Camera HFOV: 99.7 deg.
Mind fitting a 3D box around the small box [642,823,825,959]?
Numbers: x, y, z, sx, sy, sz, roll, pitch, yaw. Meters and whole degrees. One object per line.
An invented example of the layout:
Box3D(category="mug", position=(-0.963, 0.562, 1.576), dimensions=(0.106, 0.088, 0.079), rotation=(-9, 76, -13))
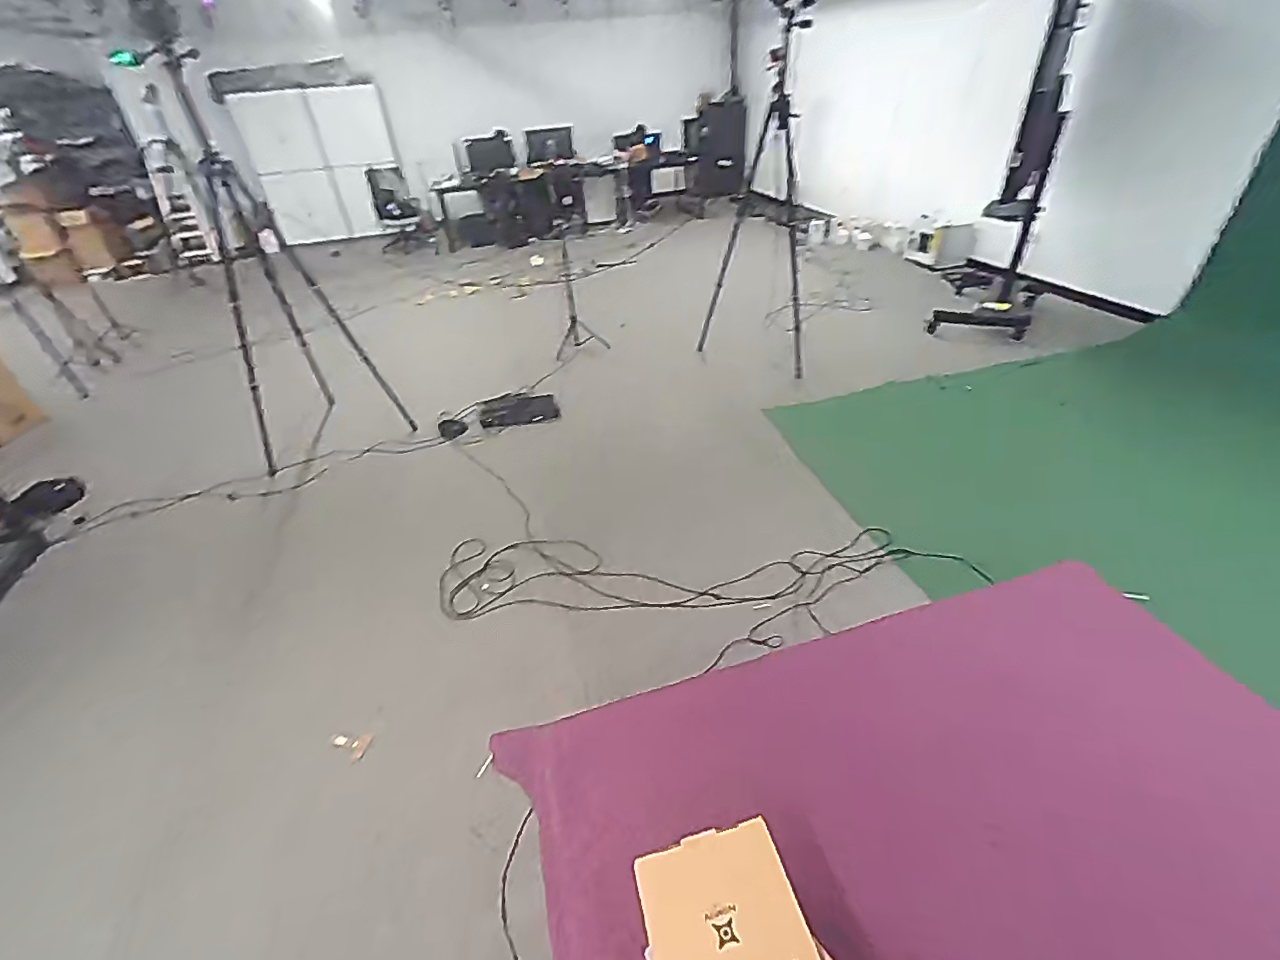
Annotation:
Box3D(category="small box", position=(0.108, 0.537, 0.609), dimensions=(0.168, 0.176, 0.179), rotation=(-15, 34, -5))
